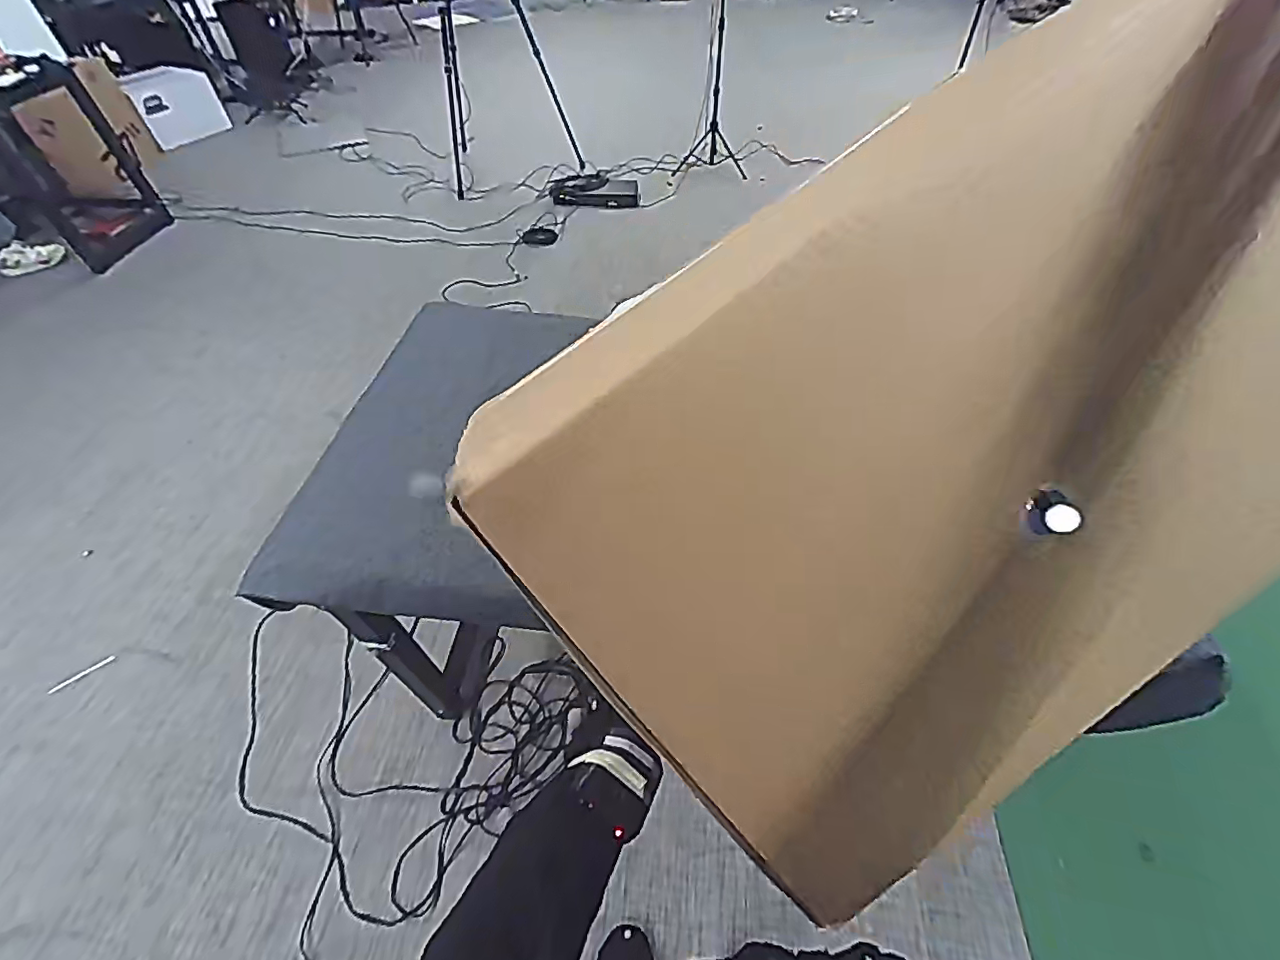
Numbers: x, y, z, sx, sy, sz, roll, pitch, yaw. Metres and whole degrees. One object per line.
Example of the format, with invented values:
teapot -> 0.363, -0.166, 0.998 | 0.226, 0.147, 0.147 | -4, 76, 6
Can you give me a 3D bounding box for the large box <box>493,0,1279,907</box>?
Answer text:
large box -> 0.150, -0.022, 0.404 | 0.408, 0.320, 0.320 | -39, 19, -4
